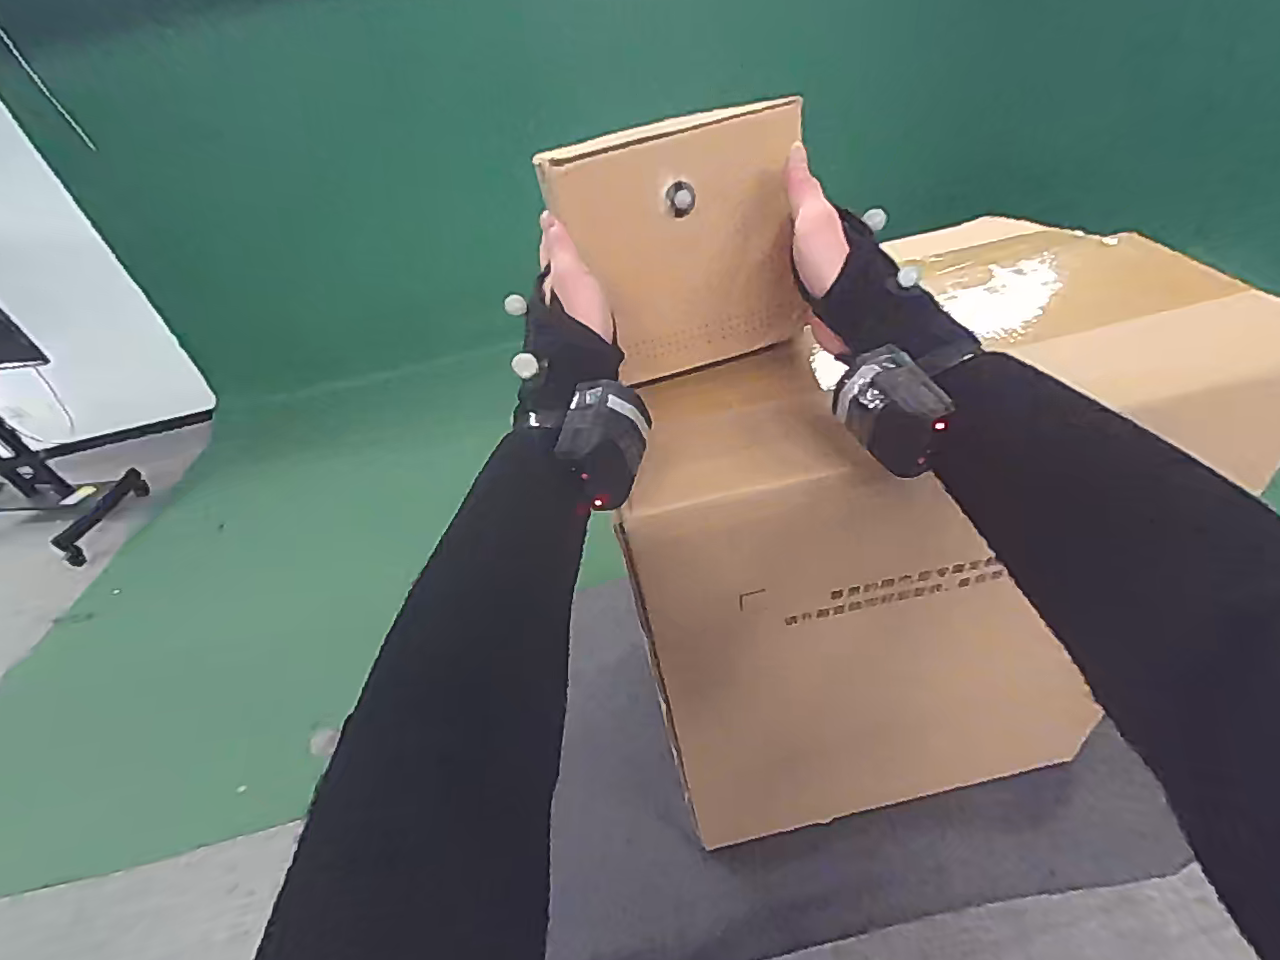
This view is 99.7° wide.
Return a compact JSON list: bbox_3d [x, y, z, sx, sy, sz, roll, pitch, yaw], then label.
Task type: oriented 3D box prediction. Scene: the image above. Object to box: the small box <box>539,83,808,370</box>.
[{"bbox_3d":[0.026,-0.206,0.454,0.179,0.176,0.168,-15,33,-7],"label":"small box"}]
